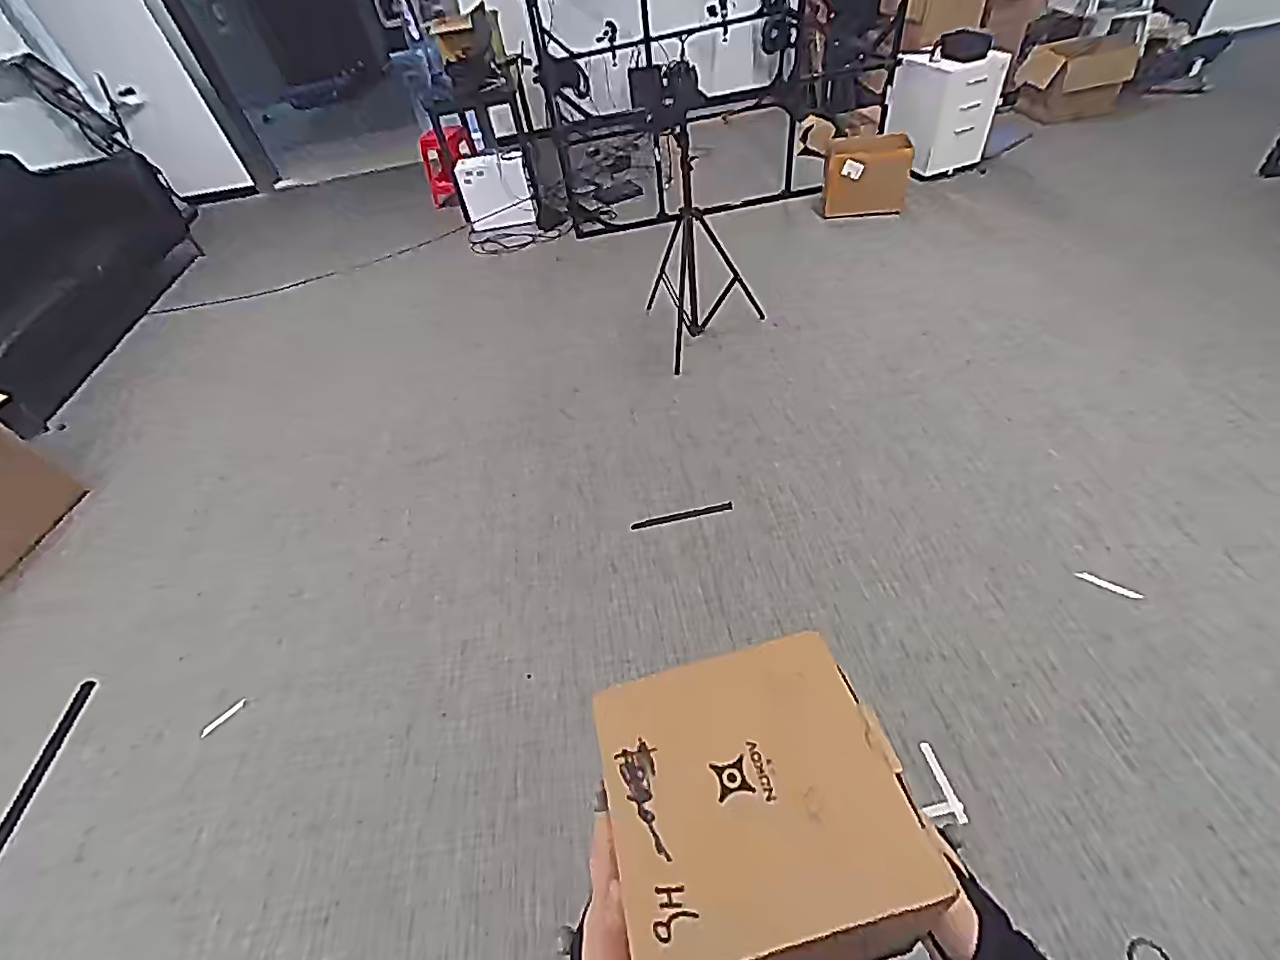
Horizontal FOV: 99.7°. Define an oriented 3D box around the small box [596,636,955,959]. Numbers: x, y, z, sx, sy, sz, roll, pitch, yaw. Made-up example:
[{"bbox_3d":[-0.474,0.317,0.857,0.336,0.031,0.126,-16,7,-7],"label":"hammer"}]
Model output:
[{"bbox_3d":[0.077,0.244,0.386,0.179,0.176,0.168,-14,40,-3],"label":"small box"}]
